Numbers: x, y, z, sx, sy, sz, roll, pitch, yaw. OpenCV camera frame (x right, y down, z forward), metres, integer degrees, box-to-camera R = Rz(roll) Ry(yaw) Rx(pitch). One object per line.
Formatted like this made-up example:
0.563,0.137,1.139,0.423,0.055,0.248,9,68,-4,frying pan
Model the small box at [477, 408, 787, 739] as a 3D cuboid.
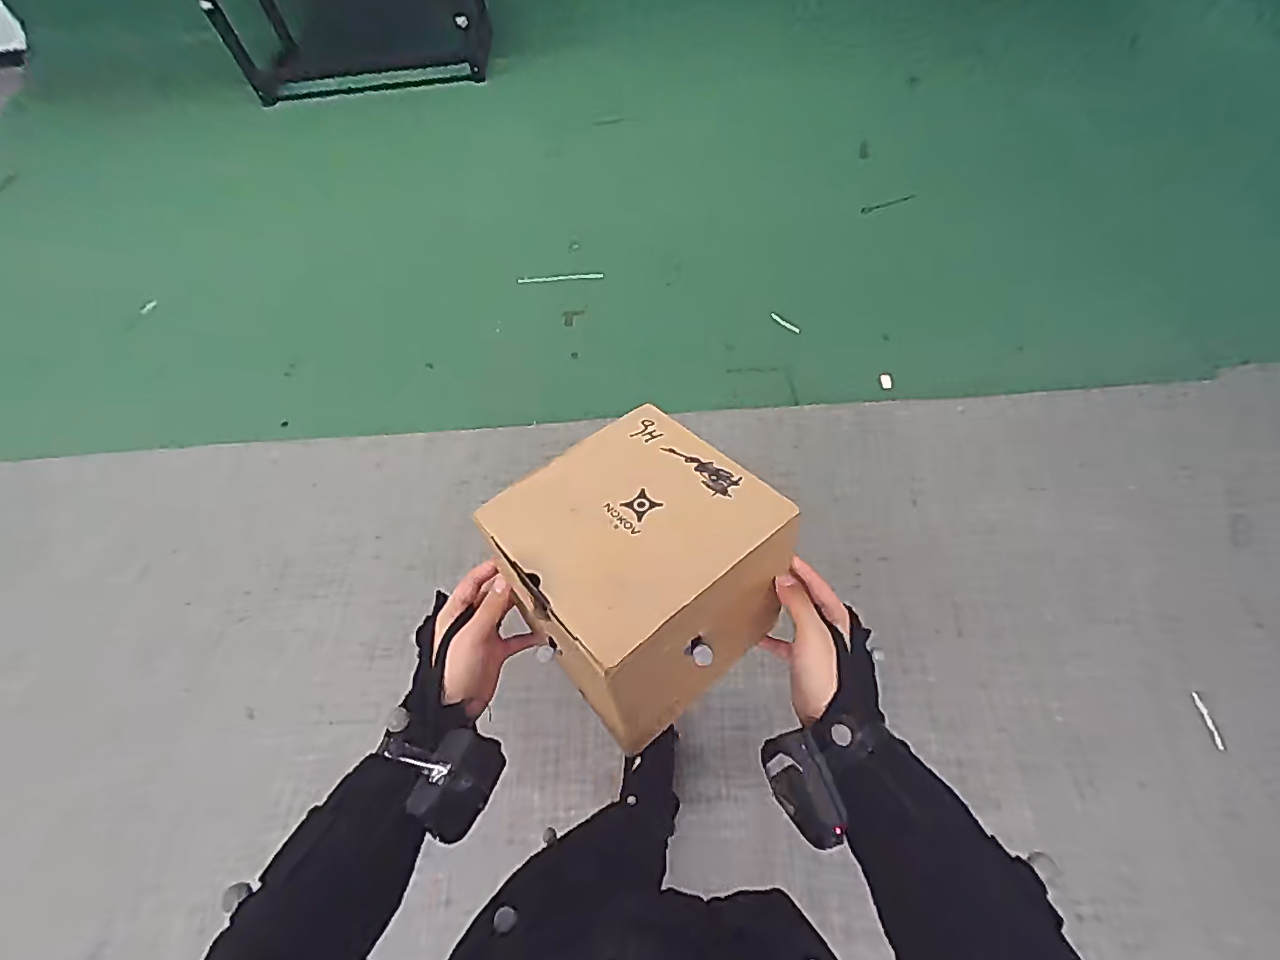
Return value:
0.000,0.078,0.453,0.179,0.176,0.168,-34,52,-23,small box
